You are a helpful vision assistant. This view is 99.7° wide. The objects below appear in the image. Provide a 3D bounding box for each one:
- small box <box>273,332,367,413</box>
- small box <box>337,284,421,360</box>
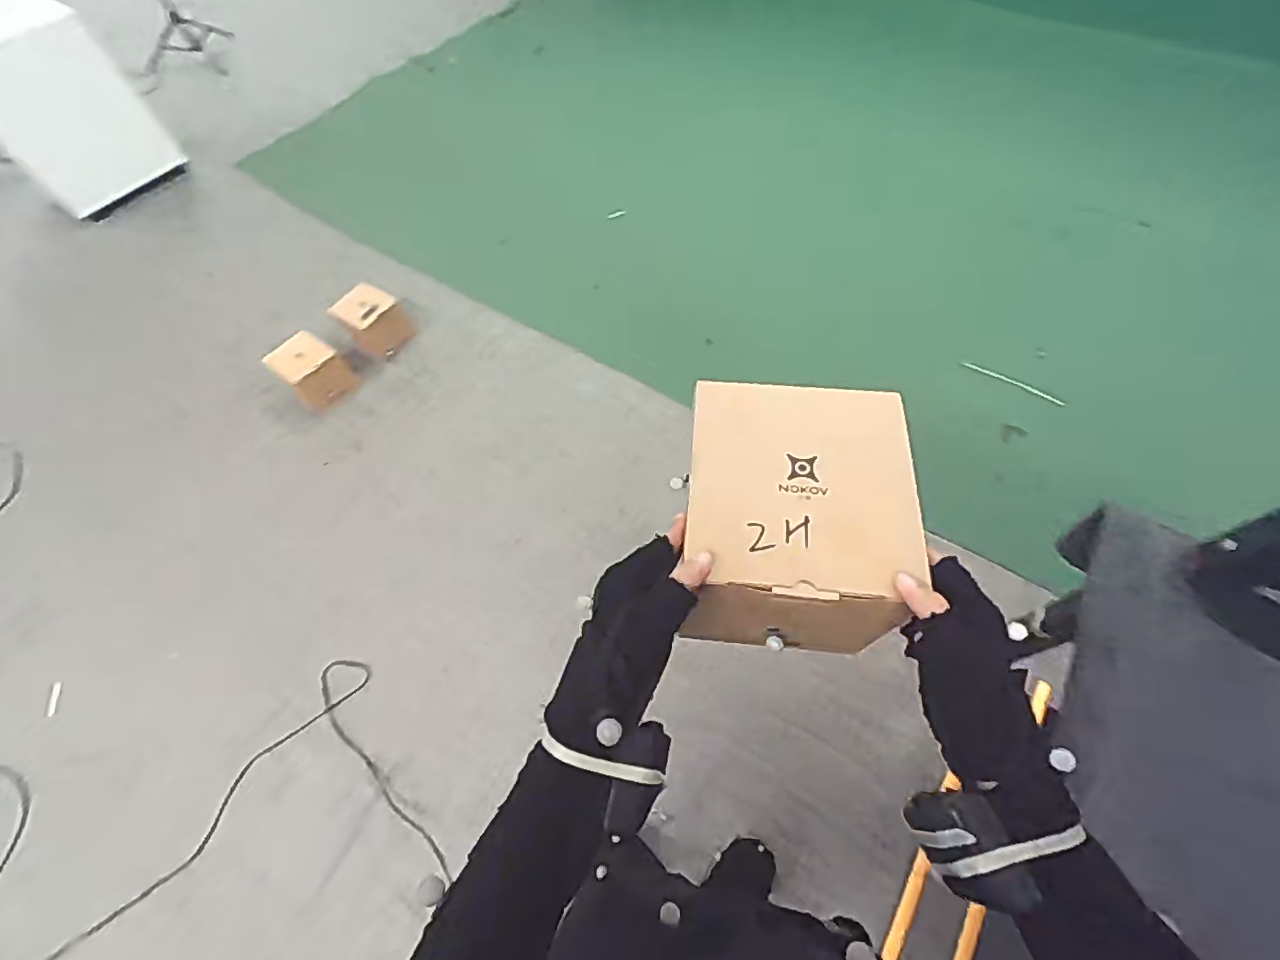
[{"bbox_3d":[-1.067,-0.356,1.814,0.179,0.176,0.168,32,67,18],"label":"small box"},{"bbox_3d":[-0.914,-0.552,1.915,0.179,0.176,0.168,28,66,18],"label":"small box"}]
